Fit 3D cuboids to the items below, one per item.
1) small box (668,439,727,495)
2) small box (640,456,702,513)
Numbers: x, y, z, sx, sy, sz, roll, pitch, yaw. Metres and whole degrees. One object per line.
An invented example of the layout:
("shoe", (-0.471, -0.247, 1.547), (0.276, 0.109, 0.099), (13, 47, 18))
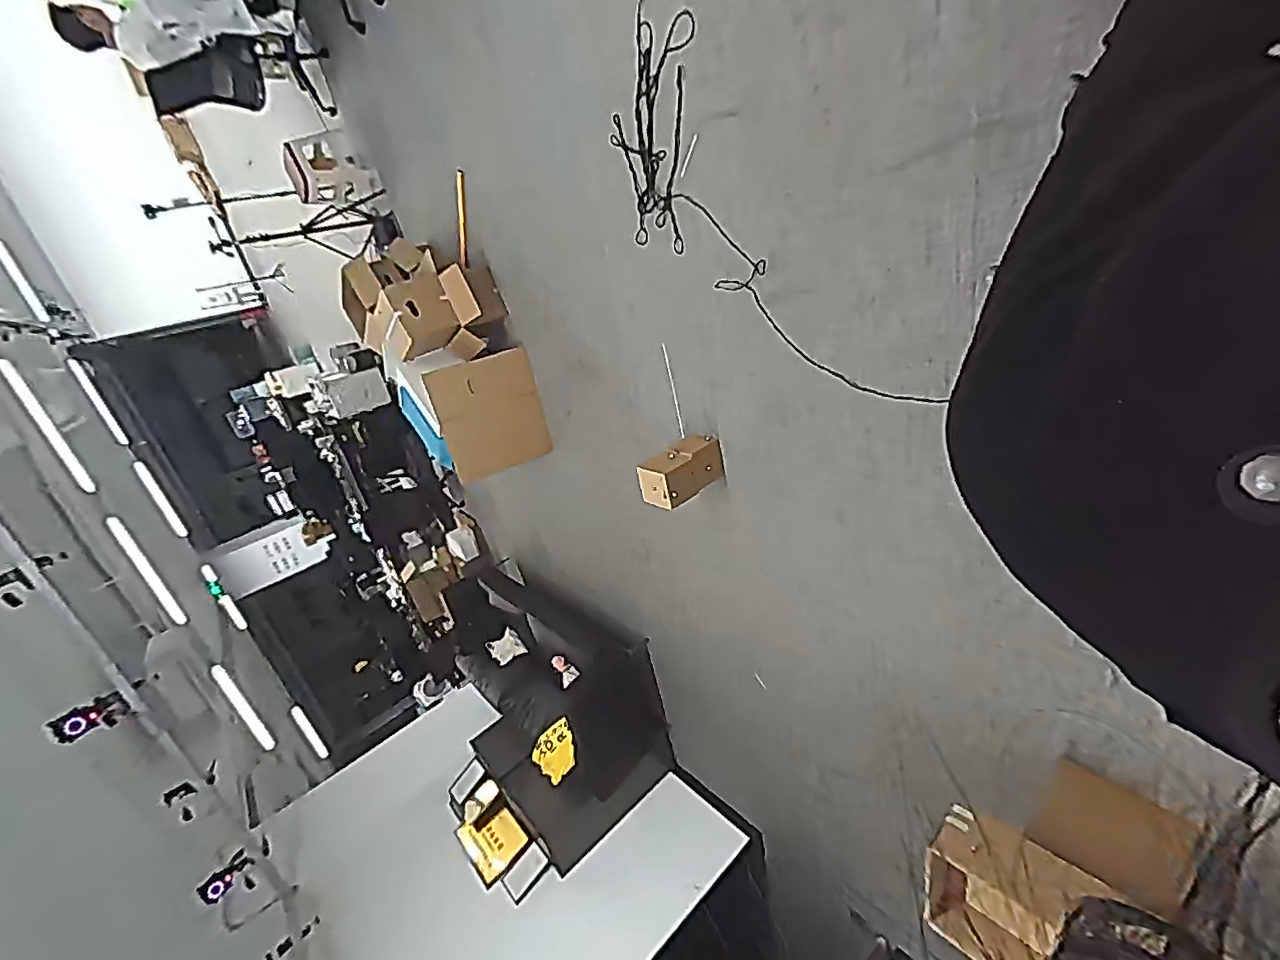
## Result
("small box", (0.249, -0.063, 2.319), (0.168, 0.176, 0.179), (16, 127, 50))
("small box", (0.129, 0.011, 2.235), (0.179, 0.176, 0.168), (18, 129, 49))
